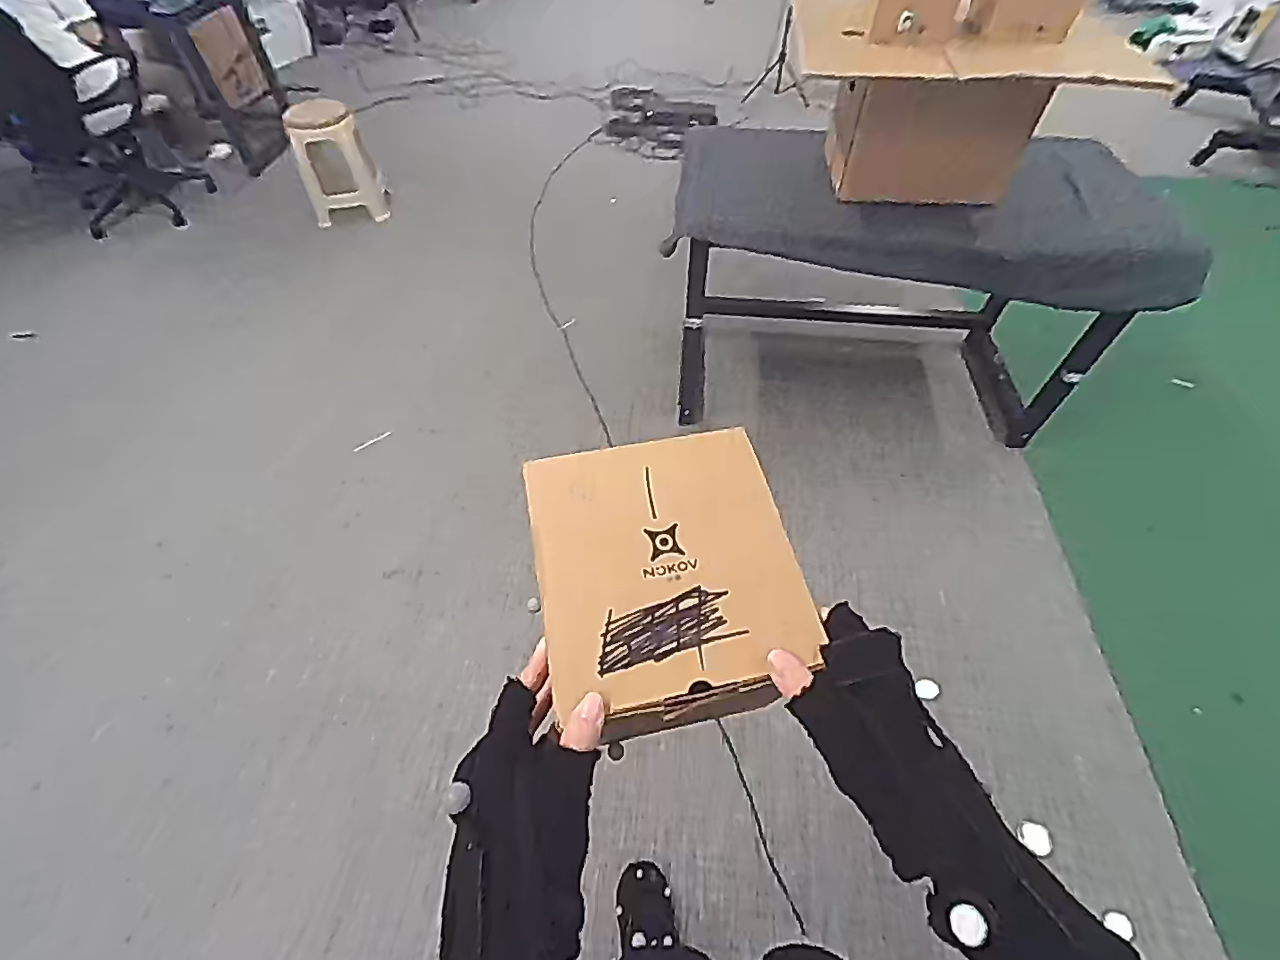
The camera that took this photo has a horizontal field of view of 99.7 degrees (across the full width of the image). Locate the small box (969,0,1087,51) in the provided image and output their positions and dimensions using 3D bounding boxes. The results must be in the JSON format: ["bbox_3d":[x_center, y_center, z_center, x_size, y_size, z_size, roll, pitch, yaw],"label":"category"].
[{"bbox_3d":[0.825,-1.033,1.134,0.168,0.176,0.179,7,53,4],"label":"small box"}]

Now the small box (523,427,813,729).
[{"bbox_3d":[0.009,0.086,0.425,0.168,0.176,0.179,-9,60,-8],"label":"small box"}]

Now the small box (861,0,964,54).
[{"bbox_3d":[0.583,-1.038,1.147,0.168,0.176,0.179,5,55,5],"label":"small box"}]
